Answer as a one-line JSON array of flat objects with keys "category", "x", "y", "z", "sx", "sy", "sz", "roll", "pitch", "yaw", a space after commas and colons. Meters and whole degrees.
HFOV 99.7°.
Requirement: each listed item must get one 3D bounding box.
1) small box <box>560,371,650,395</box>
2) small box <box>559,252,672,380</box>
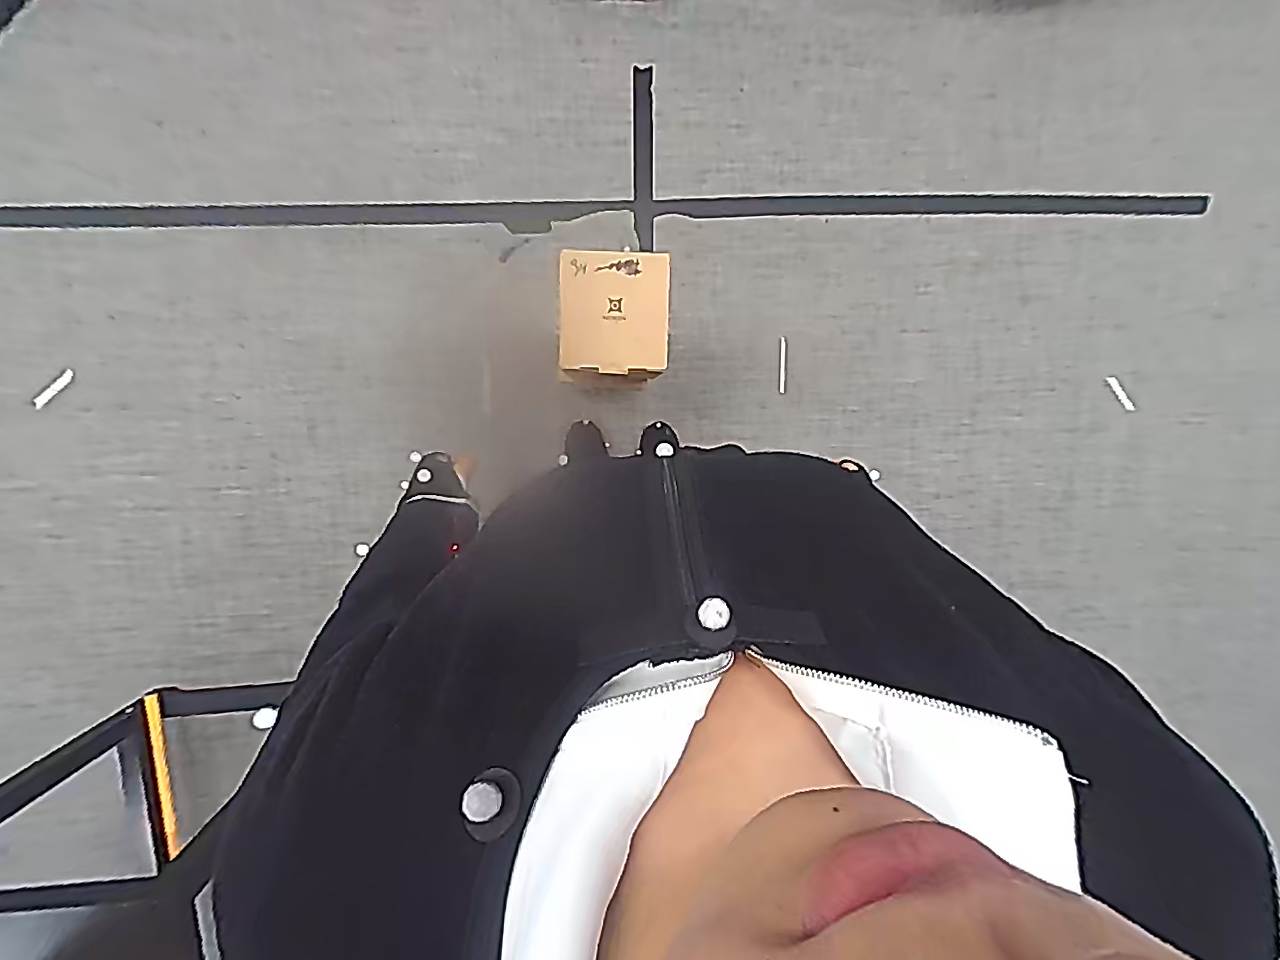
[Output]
[{"category": "small box", "x": -0.063, "y": -0.262, "z": 1.047, "sx": 0.168, "sy": 0.176, "sz": 0.179, "roll": 4, "pitch": 98, "yaw": -4}, {"category": "small box", "x": -0.041, "y": -0.257, "z": 0.883, "sx": 0.168, "sy": 0.176, "sz": 0.179, "roll": 1, "pitch": 97, "yaw": -4}]
